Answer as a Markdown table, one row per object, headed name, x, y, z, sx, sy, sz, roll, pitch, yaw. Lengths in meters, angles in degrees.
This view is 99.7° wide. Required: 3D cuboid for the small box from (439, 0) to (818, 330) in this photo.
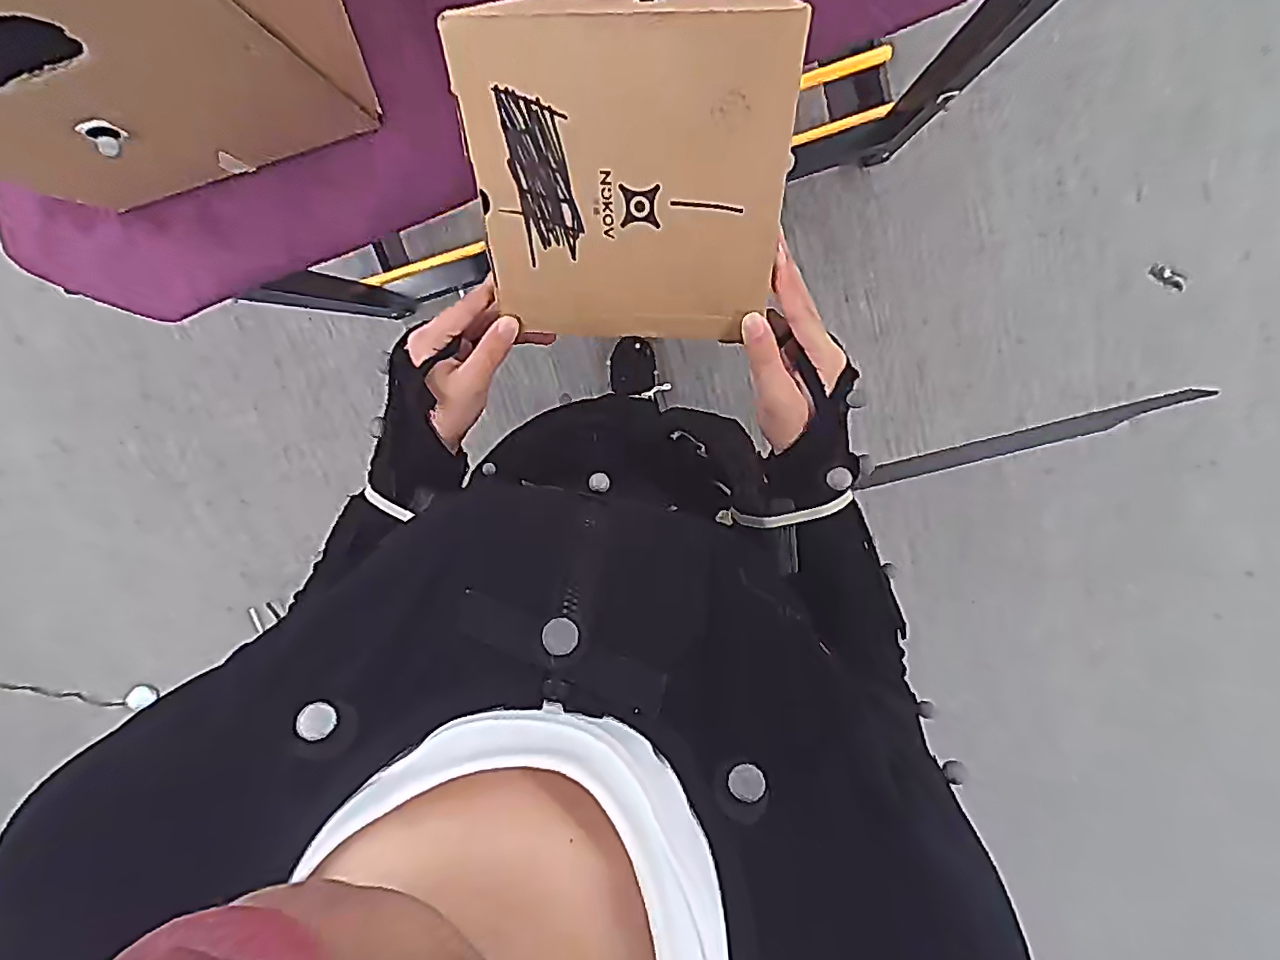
| name | x | y | z | sx | sy | sz | roll | pitch | yaw |
| --- | --- | --- | --- | --- | --- | --- | --- | --- | --- |
| small box | 0.001 | -0.215 | 0.353 | 0.179 | 0.176 | 0.168 | 3 | 134 | 4 |
